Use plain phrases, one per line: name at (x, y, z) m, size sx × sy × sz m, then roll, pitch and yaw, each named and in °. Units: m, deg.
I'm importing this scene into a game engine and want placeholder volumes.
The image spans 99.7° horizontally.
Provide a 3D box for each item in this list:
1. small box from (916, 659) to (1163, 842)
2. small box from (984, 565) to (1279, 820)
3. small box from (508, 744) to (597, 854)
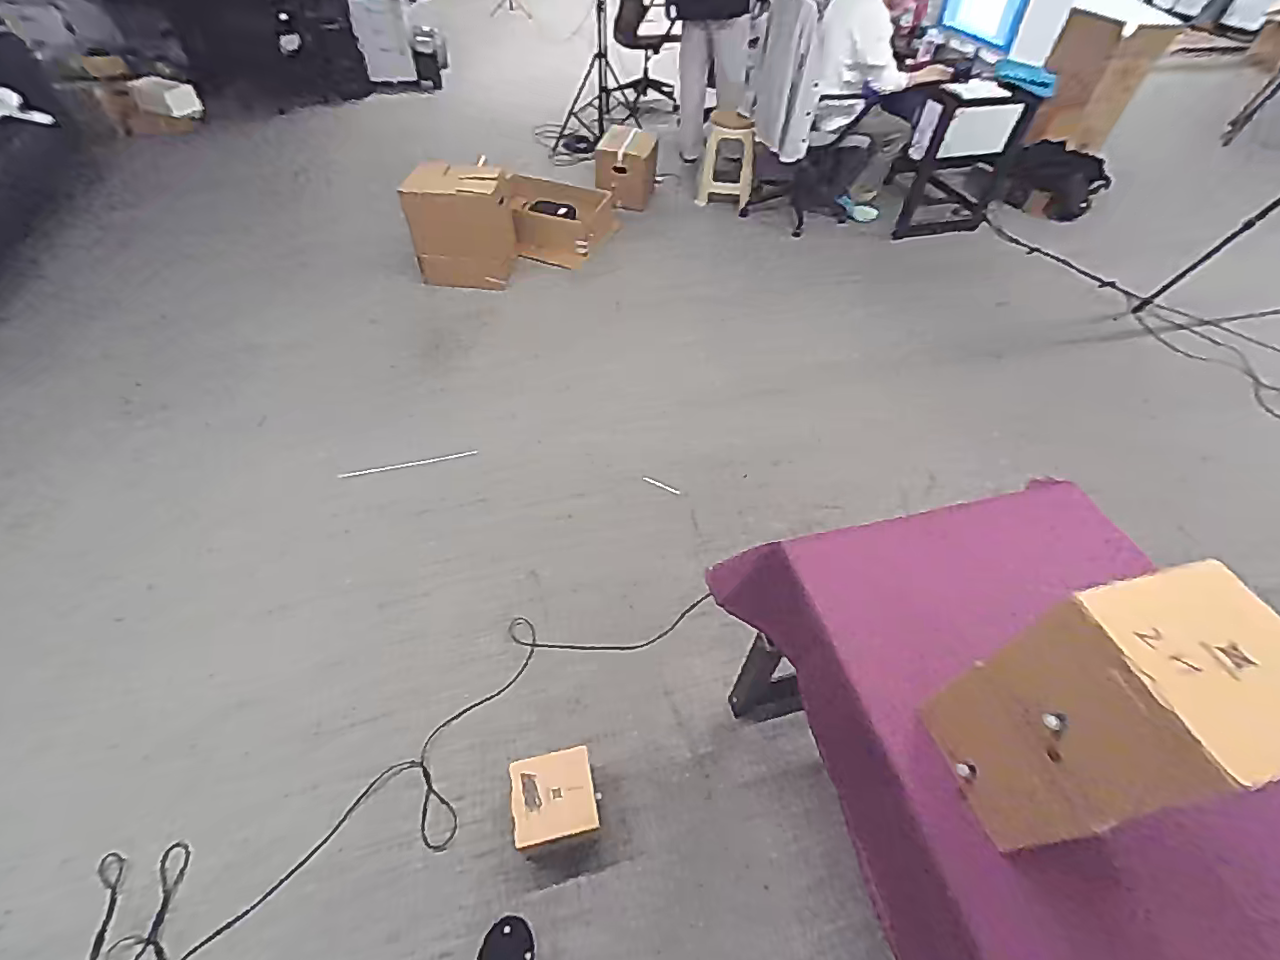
small box at (0.480, 0.315, 0.653) m, size 0.168 × 0.176 × 0.179 m, roll -10°, pitch 52°, yaw -13°
small box at (0.493, 0.208, 0.527) m, size 0.179 × 0.176 × 0.168 m, roll -10°, pitch 51°, yaw -11°
small box at (-0.196, 0.724, 1.225) m, size 0.179 × 0.176 × 0.168 m, roll -8°, pitch 51°, yaw -11°
